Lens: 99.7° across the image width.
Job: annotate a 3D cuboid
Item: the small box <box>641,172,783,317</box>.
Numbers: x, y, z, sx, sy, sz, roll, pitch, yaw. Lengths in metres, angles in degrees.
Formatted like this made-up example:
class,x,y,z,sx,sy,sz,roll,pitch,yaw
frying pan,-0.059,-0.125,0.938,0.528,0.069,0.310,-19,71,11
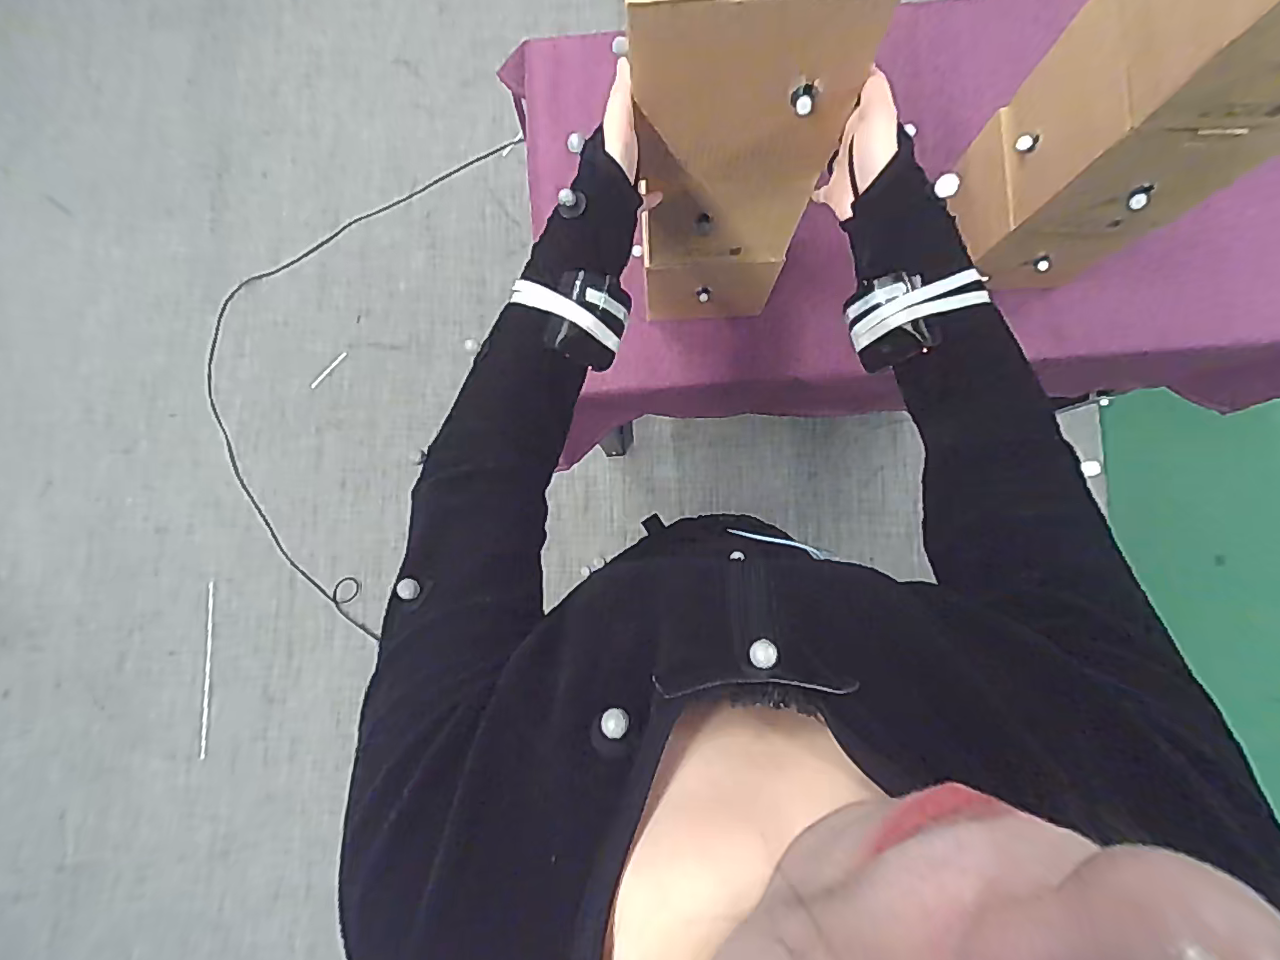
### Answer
class,x,y,z,sx,sy,sz,roll,pitch,yaw
small box,0.091,-0.339,0.754,0.179,0.176,0.168,-2,84,2

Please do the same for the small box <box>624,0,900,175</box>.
class,x,y,z,sx,sy,sz,roll,pitch,yaw
small box,0.078,-0.369,0.425,0.179,0.176,0.168,-1,83,2

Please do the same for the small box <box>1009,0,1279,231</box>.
class,x,y,z,sx,sy,sz,roll,pitch,yaw
small box,0.531,-0.391,0.580,0.168,0.176,0.179,2,85,2

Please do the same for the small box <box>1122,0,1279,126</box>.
class,x,y,z,sx,sy,sz,roll,pitch,yaw
small box,0.523,-0.407,0.416,0.168,0.176,0.179,1,83,2

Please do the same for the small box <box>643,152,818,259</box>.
class,x,y,z,sx,sy,sz,roll,pitch,yaw
small box,0.088,-0.359,0.593,0.168,0.176,0.179,-1,83,2
